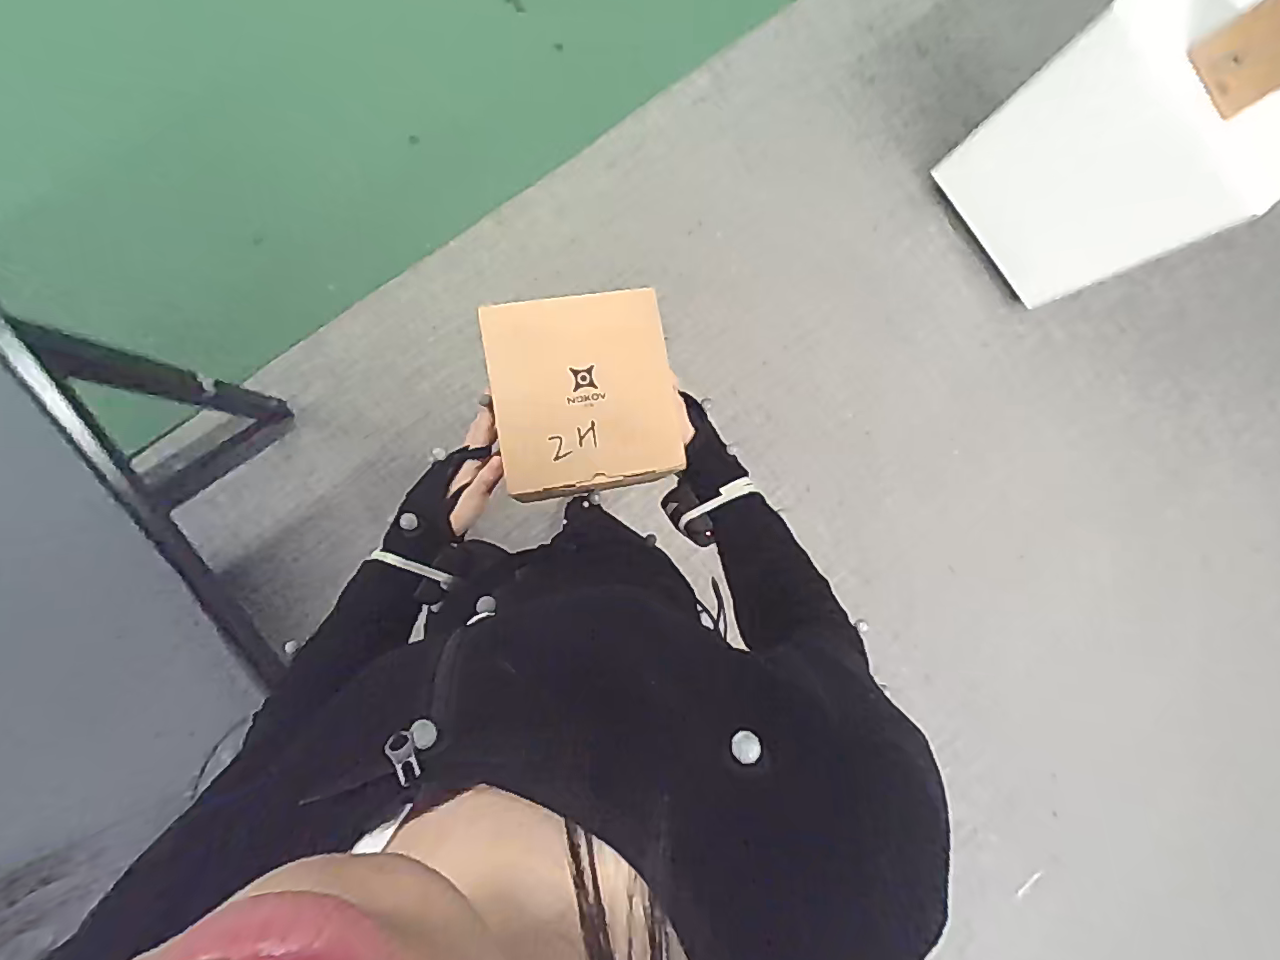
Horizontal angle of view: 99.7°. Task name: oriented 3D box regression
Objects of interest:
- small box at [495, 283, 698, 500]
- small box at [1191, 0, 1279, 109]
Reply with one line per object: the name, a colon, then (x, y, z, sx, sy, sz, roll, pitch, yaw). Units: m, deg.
small box: (-0.050, -0.081, 0.566, 0.168, 0.176, 0.179, -9, 86, -8)
small box: (1.197, -0.842, 0.994, 0.179, 0.176, 0.168, -33, 92, -7)
